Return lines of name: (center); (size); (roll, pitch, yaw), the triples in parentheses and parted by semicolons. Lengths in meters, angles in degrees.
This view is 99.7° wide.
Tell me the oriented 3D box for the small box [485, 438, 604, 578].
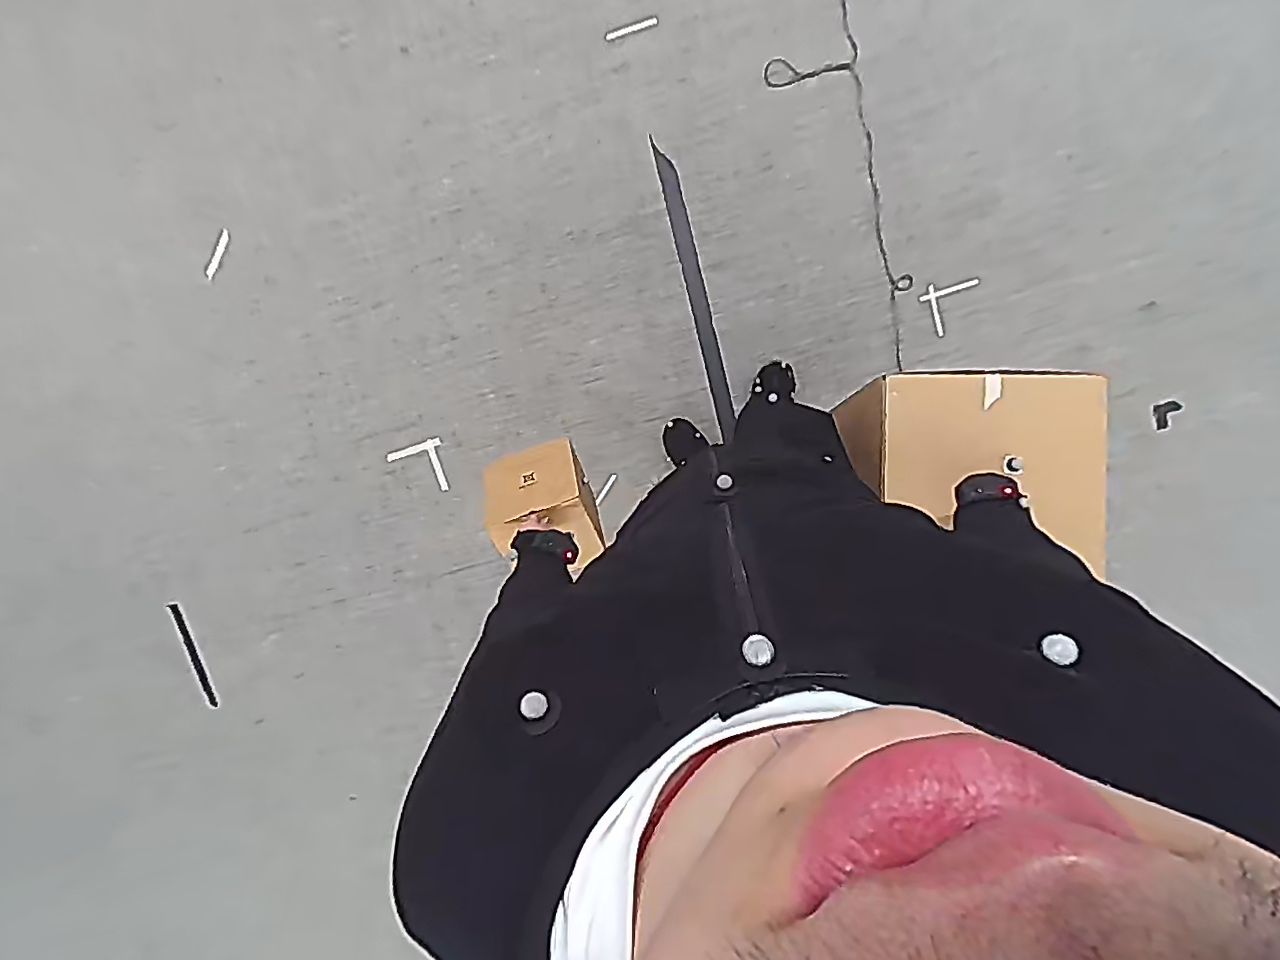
small box: (-0.174, 0.058, 0.995); (0.168, 0.179, 0.176); (-18, 133, 0)
